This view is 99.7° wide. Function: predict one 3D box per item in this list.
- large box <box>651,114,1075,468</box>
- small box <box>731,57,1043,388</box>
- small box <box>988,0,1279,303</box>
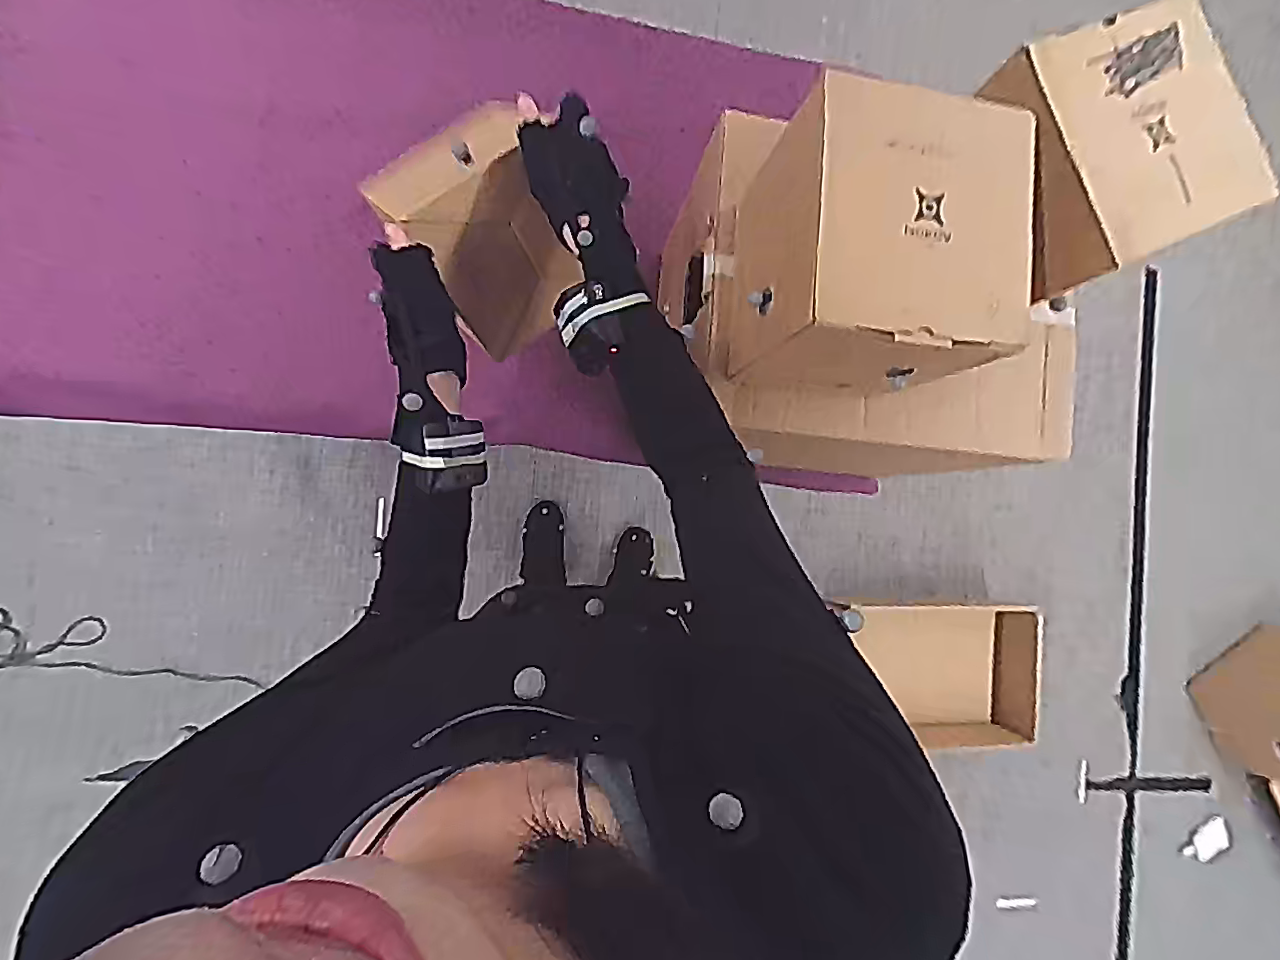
[{"bbox_3d":[0.240,-0.187,0.694,0.408,0.320,0.320,5,88,-10],"label":"large box"},{"bbox_3d":[0.180,-0.179,0.437,0.168,0.176,0.179,4,87,-10],"label":"small box"},{"bbox_3d":[0.366,-0.259,0.468,0.168,0.176,0.179,-23,91,-9],"label":"small box"}]
